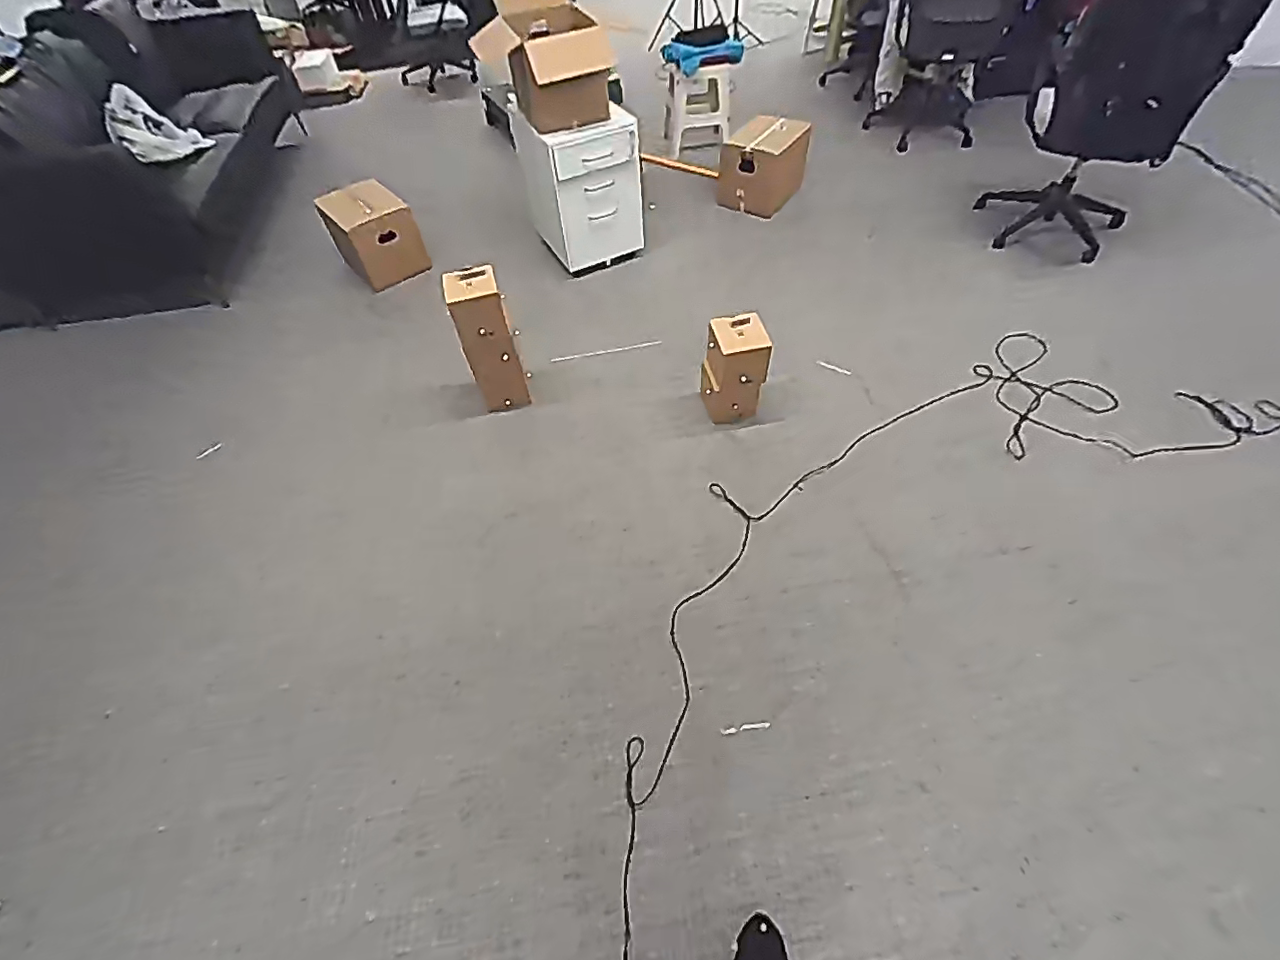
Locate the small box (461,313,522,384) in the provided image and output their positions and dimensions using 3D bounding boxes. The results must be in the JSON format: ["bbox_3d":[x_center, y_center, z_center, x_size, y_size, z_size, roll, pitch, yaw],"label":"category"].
[{"bbox_3d":[-0.531,-0.471,1.948,0.179,0.176,0.168,-14,52,-4],"label":"small box"}]

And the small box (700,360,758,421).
[{"bbox_3d":[0.320,-0.331,1.968,0.168,0.176,0.179,-12,53,-5],"label":"small box"}]

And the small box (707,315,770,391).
[{"bbox_3d":[0.327,-0.428,1.834,0.168,0.176,0.179,-11,54,-3],"label":"small box"}]

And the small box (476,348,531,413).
[{"bbox_3d":[-0.523,-0.381,2.084,0.179,0.176,0.168,-11,52,-4],"label":"small box"}]
